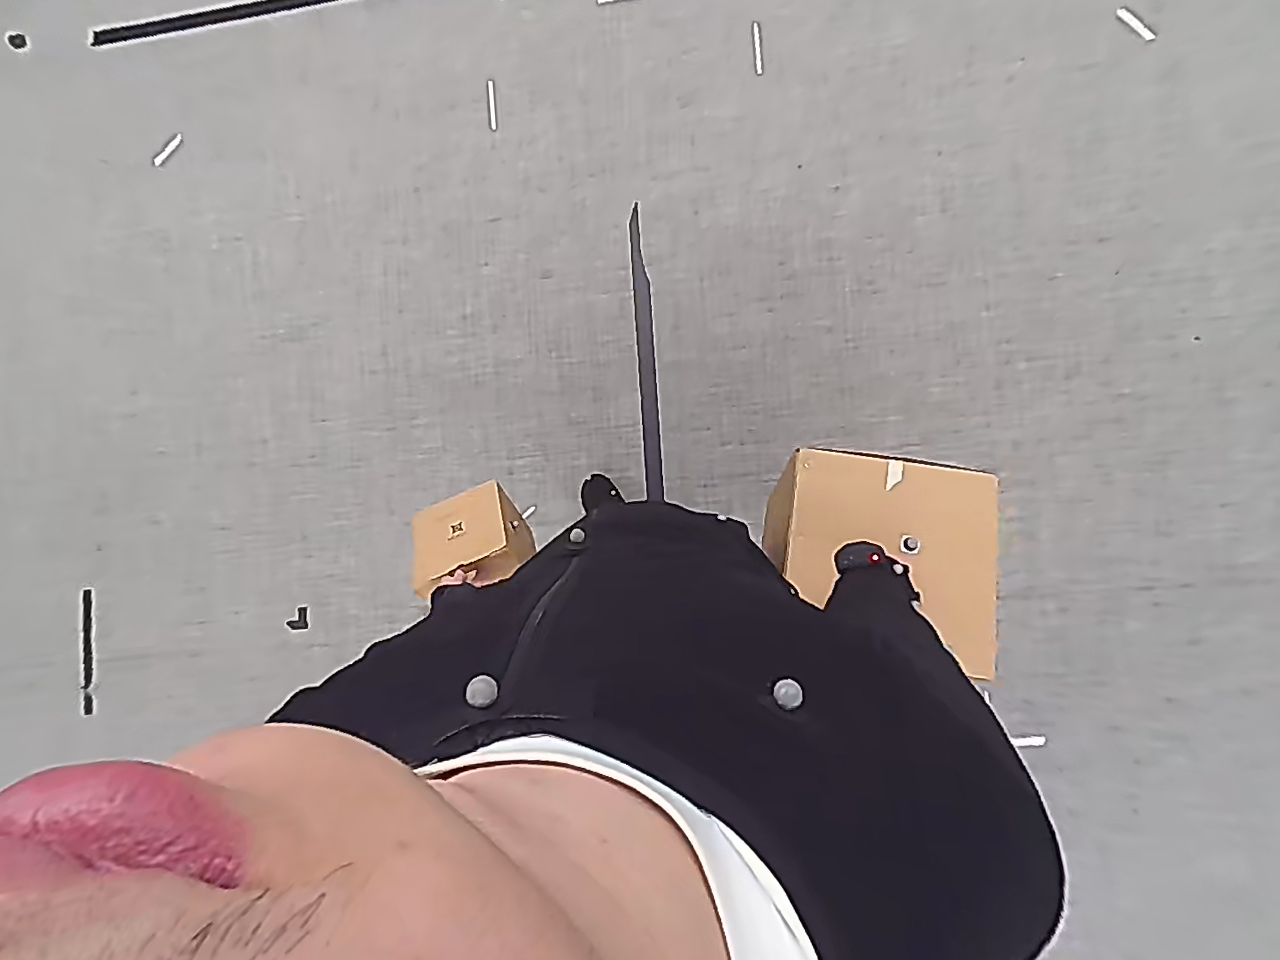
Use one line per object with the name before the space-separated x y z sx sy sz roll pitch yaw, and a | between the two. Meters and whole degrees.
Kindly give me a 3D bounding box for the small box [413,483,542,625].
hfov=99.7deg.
small box | -0.294 0.143 0.991 0.168 0.176 0.179 -23 44 -2
